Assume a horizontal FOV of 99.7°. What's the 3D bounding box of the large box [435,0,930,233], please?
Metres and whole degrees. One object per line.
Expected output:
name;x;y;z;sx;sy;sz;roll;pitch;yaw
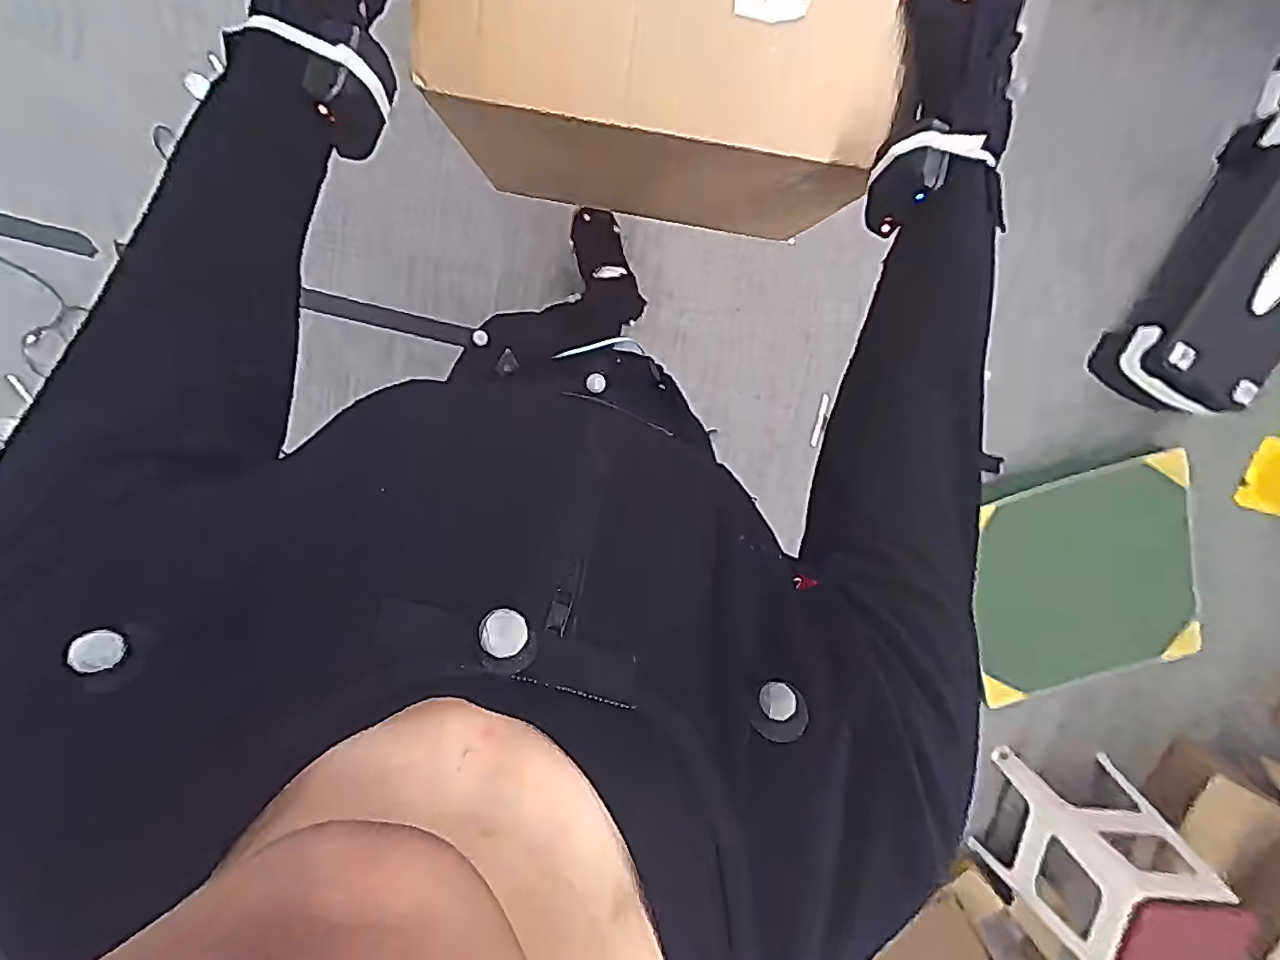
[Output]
large box;0.037;-0.475;0.565;0.408;0.320;0.320;7;105;-5
